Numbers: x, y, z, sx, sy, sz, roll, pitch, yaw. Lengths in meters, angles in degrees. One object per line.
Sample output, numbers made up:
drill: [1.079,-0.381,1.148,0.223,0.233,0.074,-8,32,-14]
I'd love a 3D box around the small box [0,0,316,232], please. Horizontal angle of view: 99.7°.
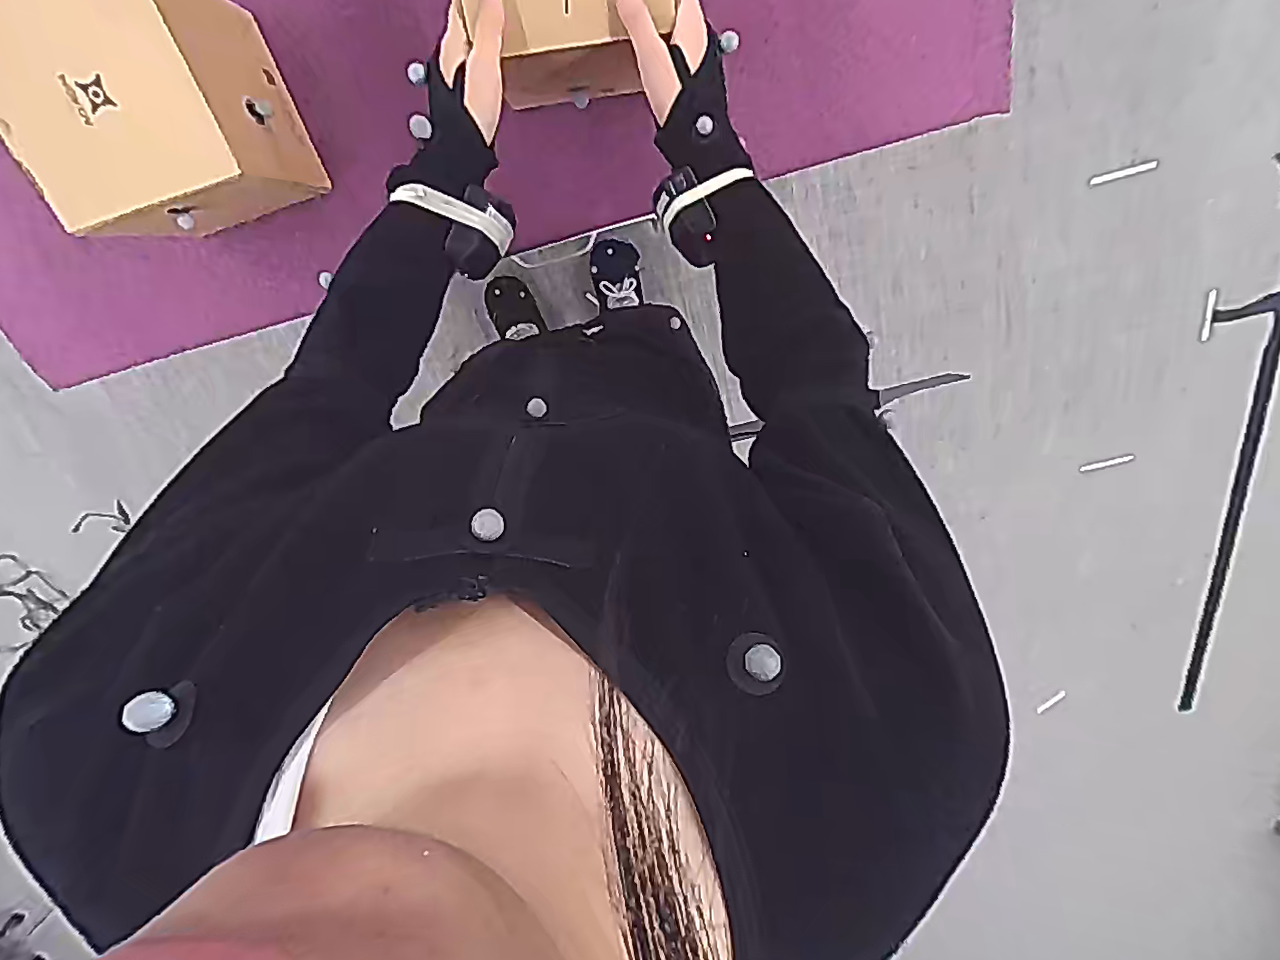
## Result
small box: [-0.446,-0.346,0.510,0.179,0.176,0.168,-15,115,5]

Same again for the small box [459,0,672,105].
small box: [-0.066,-0.453,0.467,0.168,0.176,0.179,-6,114,1]
